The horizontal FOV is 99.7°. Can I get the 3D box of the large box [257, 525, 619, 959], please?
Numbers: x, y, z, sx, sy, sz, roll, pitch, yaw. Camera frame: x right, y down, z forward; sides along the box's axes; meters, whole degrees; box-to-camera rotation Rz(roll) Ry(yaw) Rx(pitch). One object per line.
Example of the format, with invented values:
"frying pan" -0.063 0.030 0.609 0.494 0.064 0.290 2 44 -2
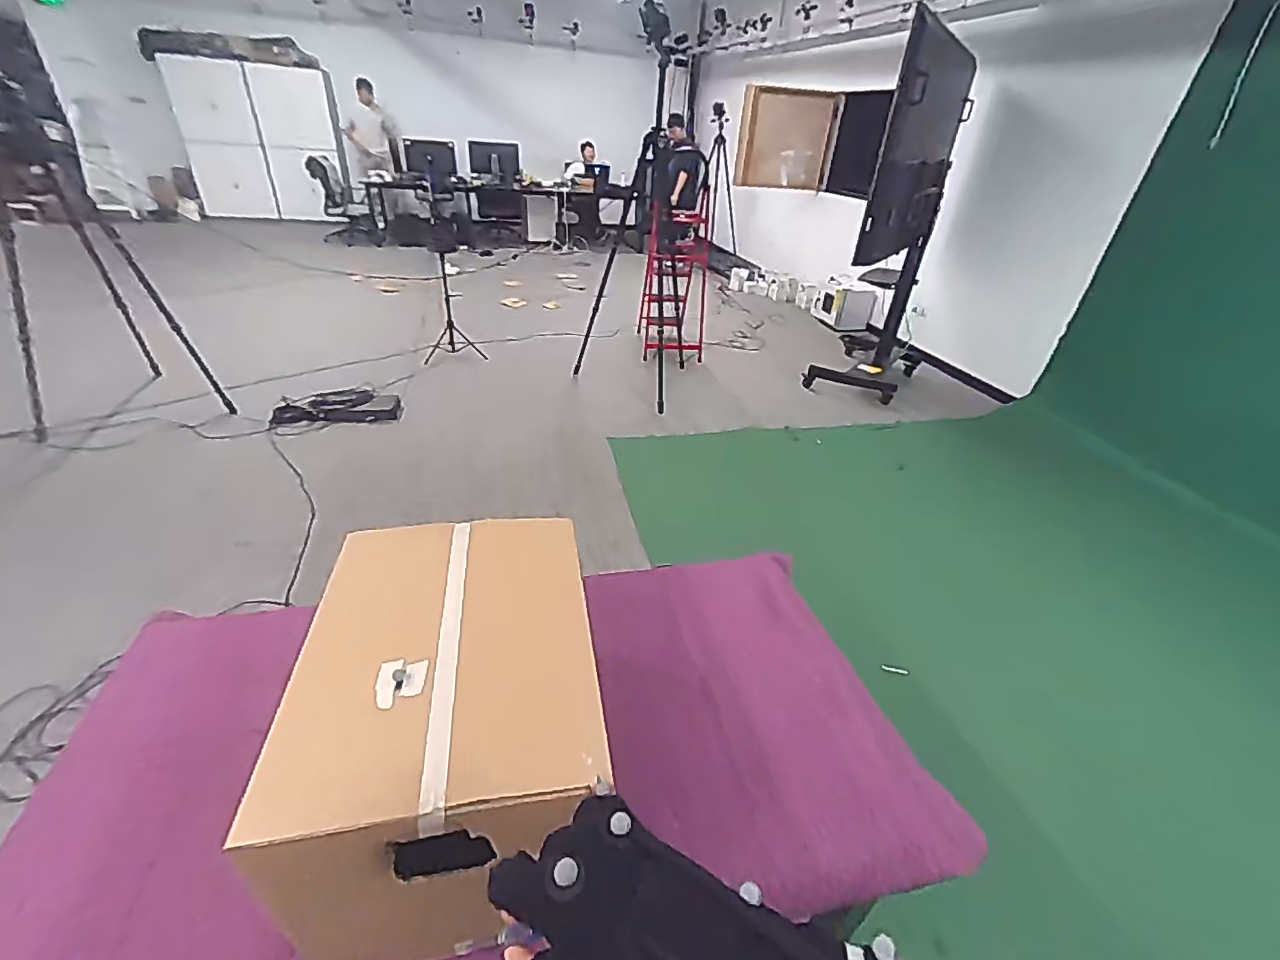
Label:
"large box" -0.223 0.305 0.714 0.320 0.320 0.408 -2 34 -12
